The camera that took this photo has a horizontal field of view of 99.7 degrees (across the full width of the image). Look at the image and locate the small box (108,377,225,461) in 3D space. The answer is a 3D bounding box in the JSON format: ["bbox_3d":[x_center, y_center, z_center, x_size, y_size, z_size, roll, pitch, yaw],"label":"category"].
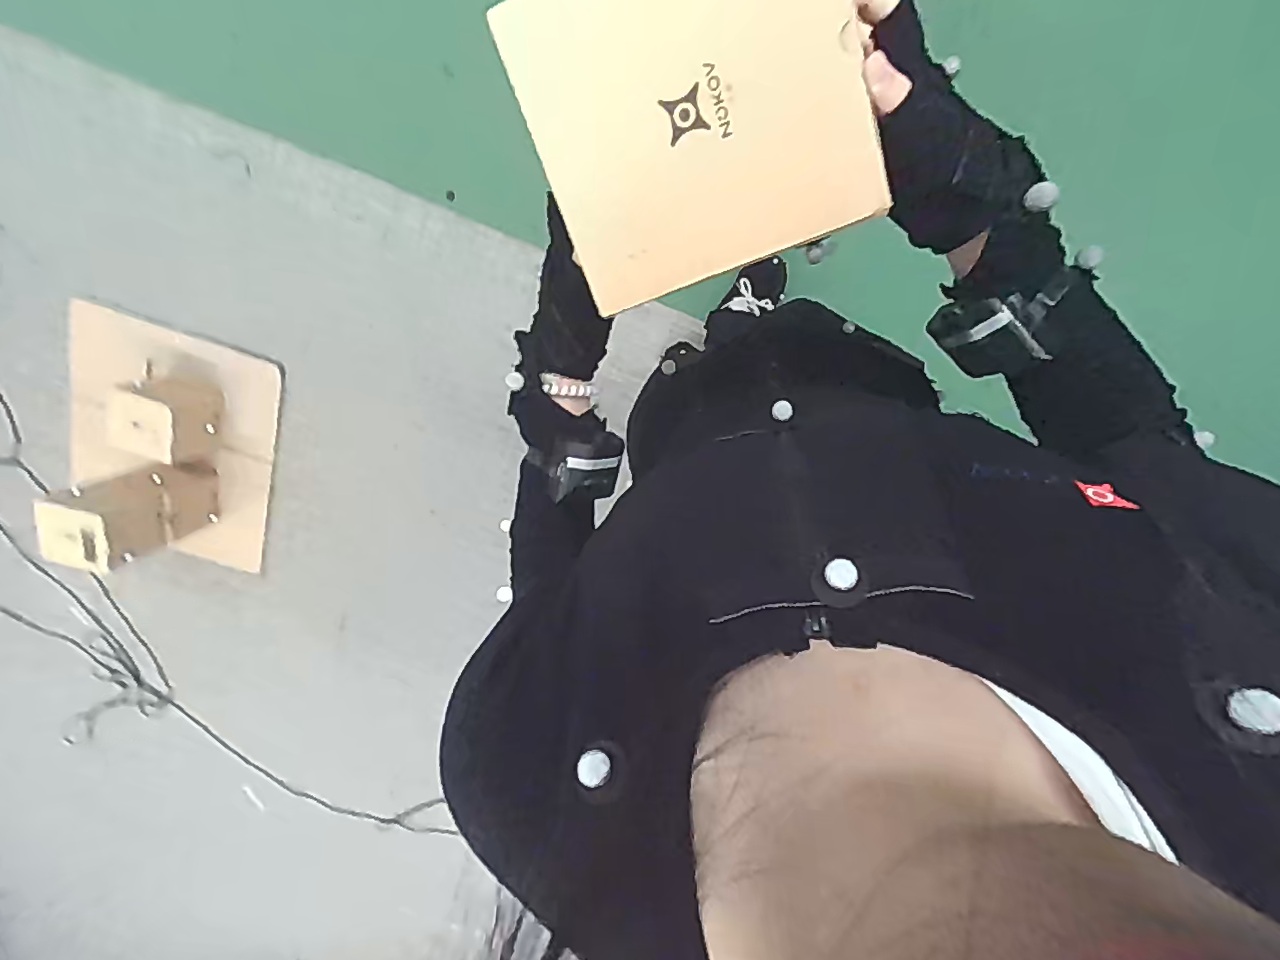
[{"bbox_3d":[-1.287,-0.173,1.475,0.179,0.176,0.168,19,110,-2],"label":"small box"}]

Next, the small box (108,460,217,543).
[{"bbox_3d":[-1.359,0.055,1.553,0.179,0.176,0.168,16,109,0],"label":"small box"}]
